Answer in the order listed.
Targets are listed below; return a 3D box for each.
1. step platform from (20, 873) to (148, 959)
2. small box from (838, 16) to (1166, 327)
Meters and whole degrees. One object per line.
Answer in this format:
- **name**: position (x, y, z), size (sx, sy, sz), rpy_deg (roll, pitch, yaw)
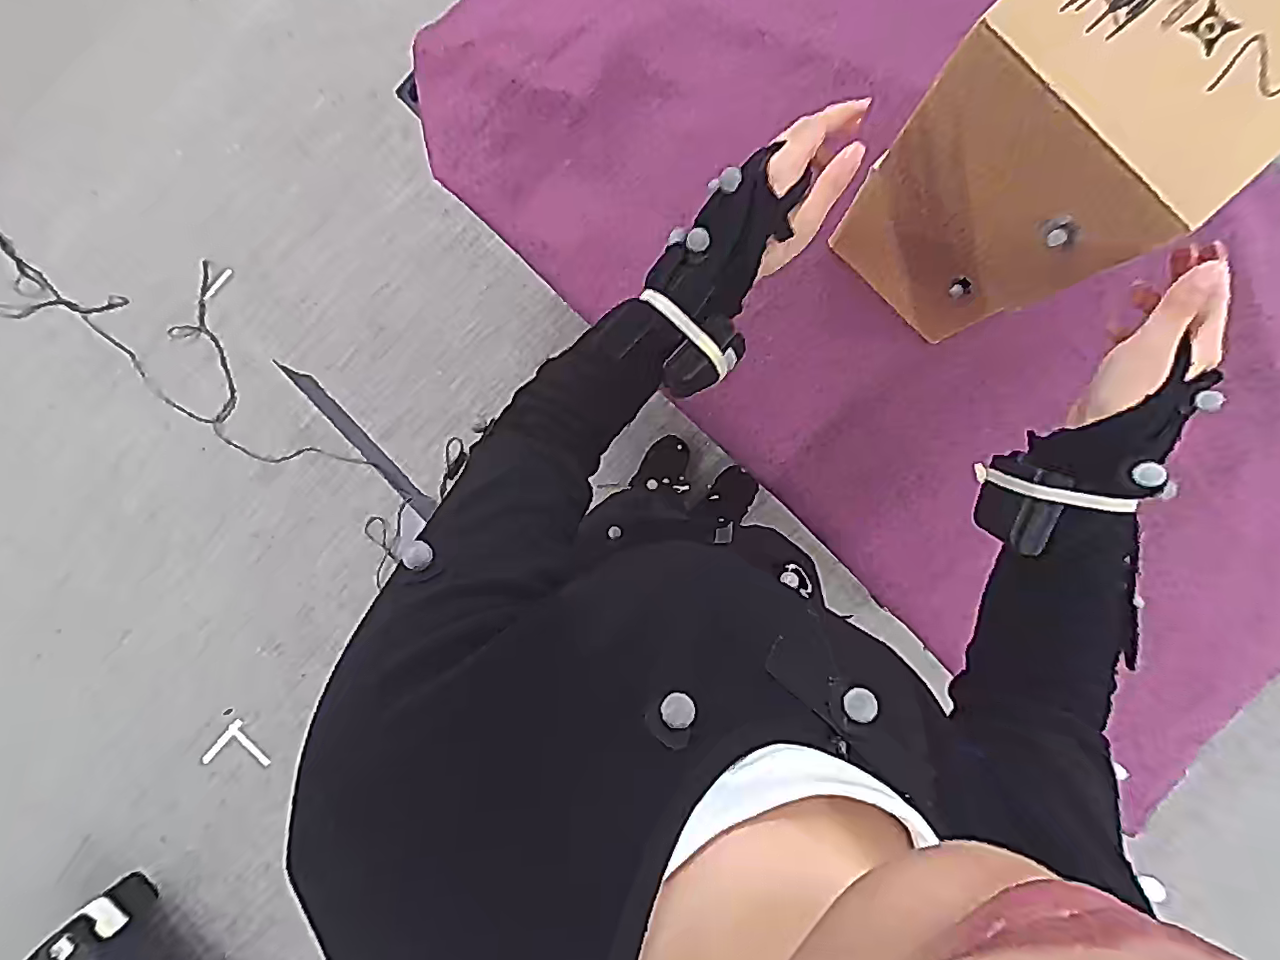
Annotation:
- **step platform**: position (-1.377, 1.474, 1.496), size (0.684, 0.204, 0.286), rpy_deg (45, 96, 1)
- **small box**: position (0.331, -0.281, 0.541), size (0.179, 0.176, 0.168), rpy_deg (45, 95, 2)
